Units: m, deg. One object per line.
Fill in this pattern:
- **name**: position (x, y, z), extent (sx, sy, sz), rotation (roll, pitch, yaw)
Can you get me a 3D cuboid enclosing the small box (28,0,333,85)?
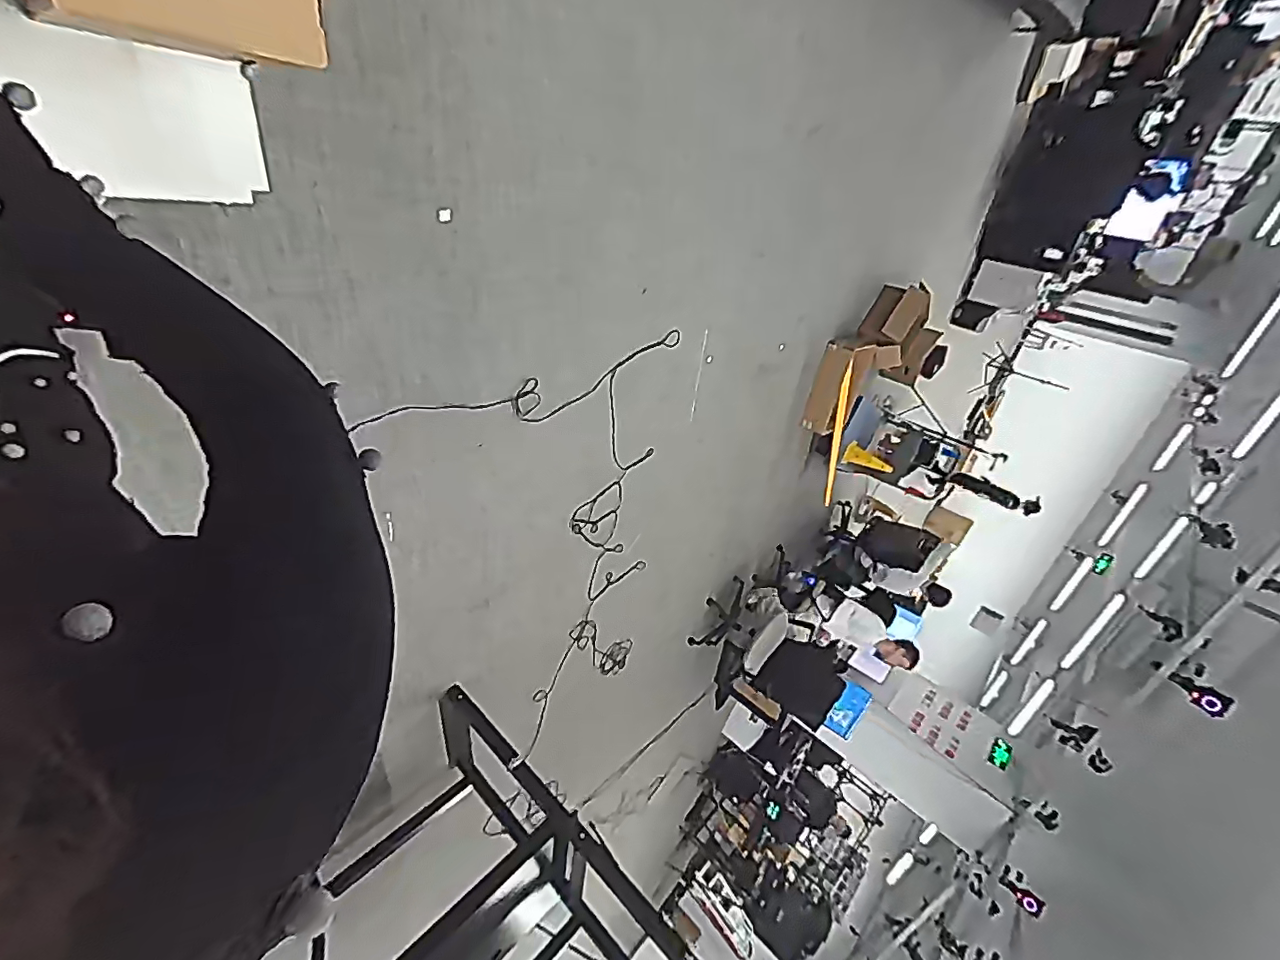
- **small box**: position (-0.378, -0.436, 0.431), extent (0.179, 0.176, 0.168), rotation (-21, 131, -42)
